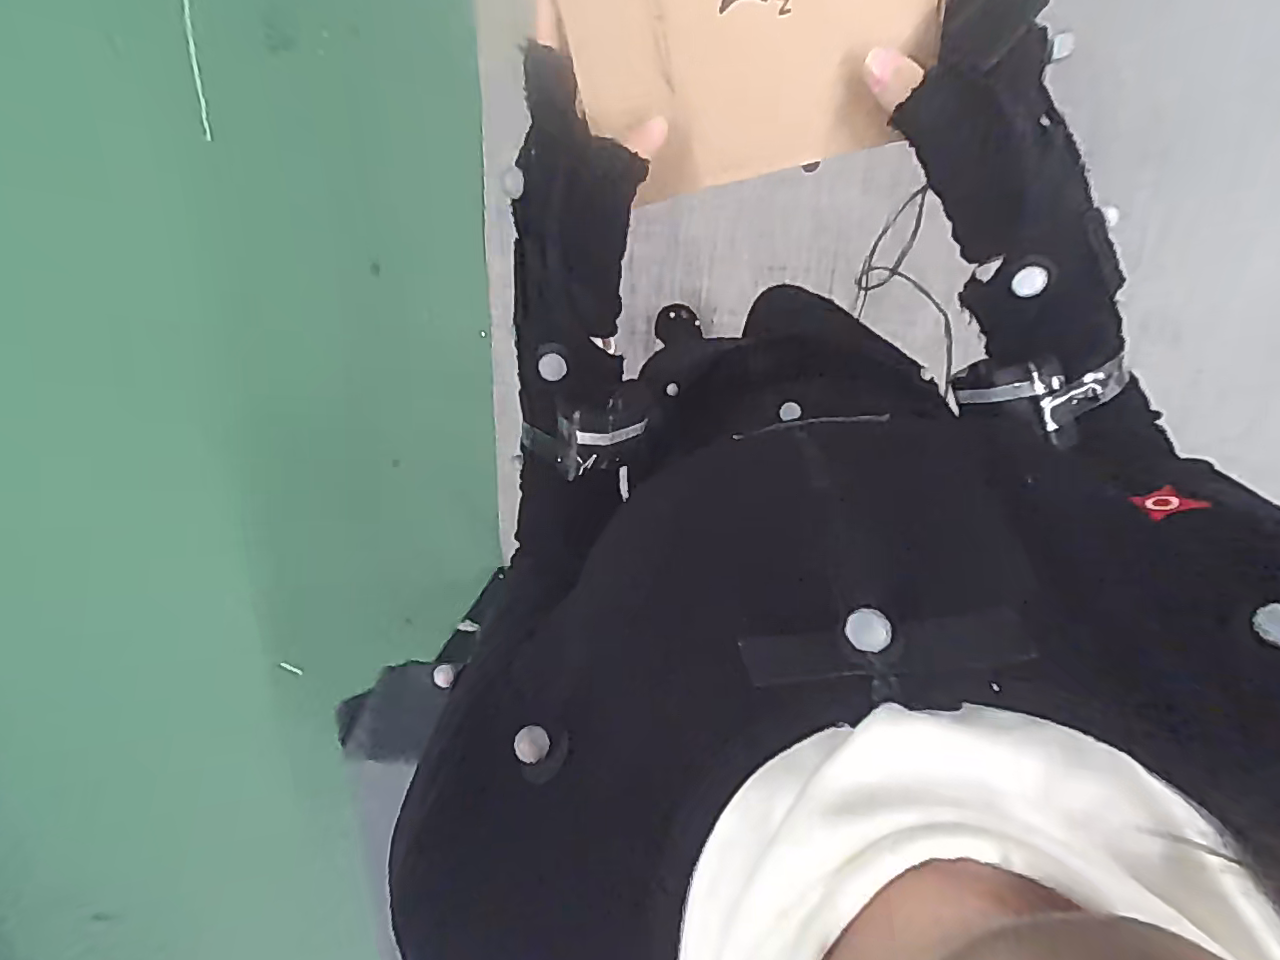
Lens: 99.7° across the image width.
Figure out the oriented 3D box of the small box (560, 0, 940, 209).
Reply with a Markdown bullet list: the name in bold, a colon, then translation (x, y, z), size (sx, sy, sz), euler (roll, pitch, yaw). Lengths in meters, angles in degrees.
- **small box**: translation (0.050, -0.278, 0.313), size (0.179, 0.176, 0.168), euler (-10, 124, 8)
